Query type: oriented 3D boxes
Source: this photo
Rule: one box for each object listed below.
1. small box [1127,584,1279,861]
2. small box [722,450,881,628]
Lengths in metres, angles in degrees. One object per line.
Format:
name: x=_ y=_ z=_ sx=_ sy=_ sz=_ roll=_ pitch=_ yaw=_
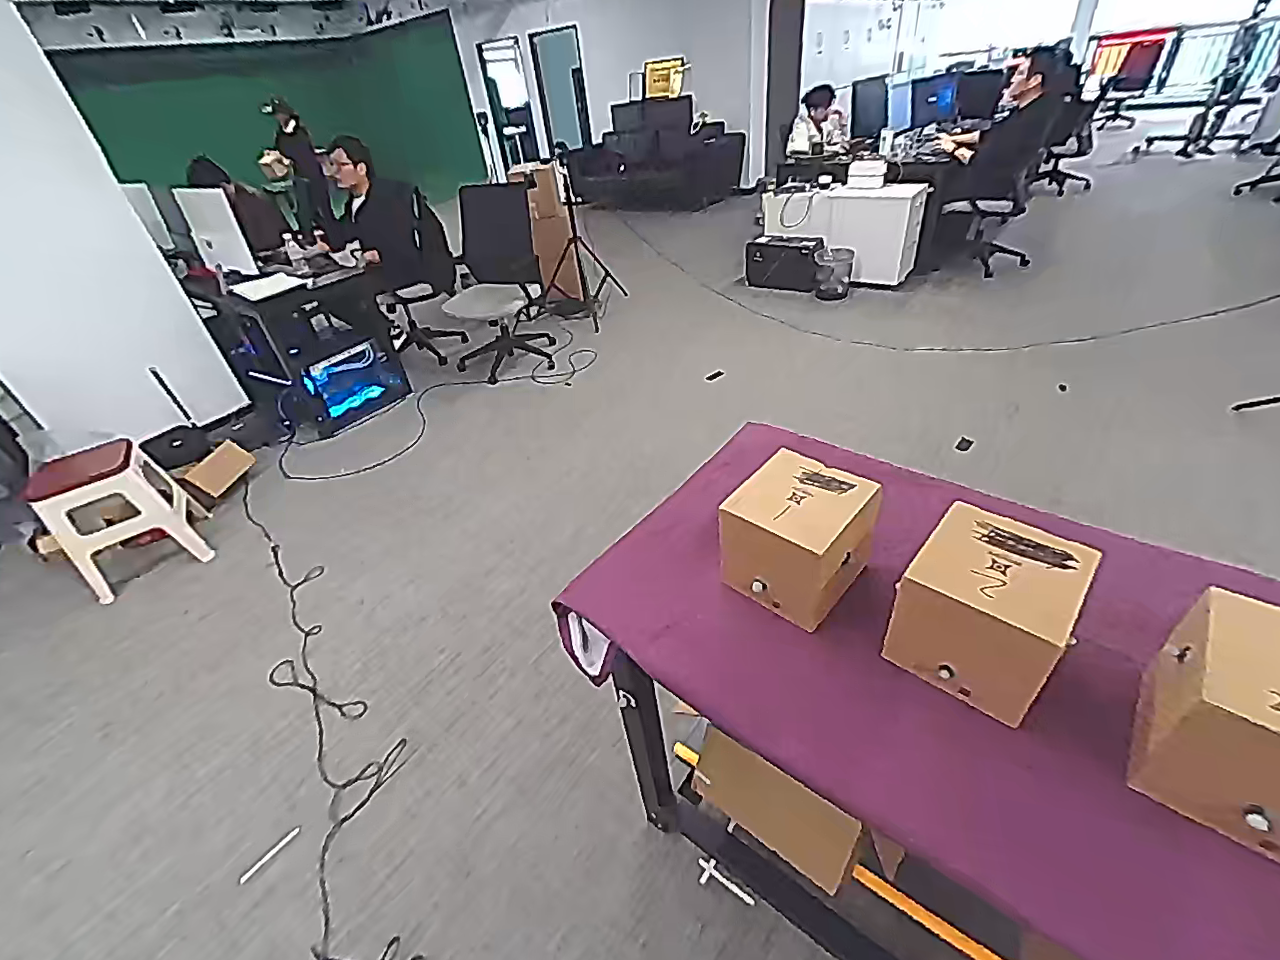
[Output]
small box: x=0.638 y=0.247 z=0.549 sx=0.168 sy=0.176 sz=0.179 roll=23 pitch=46 yaw=35
small box: x=0.240 y=0.087 z=0.830 sx=0.168 sy=0.176 sz=0.179 roll=26 pitch=50 yaw=37
